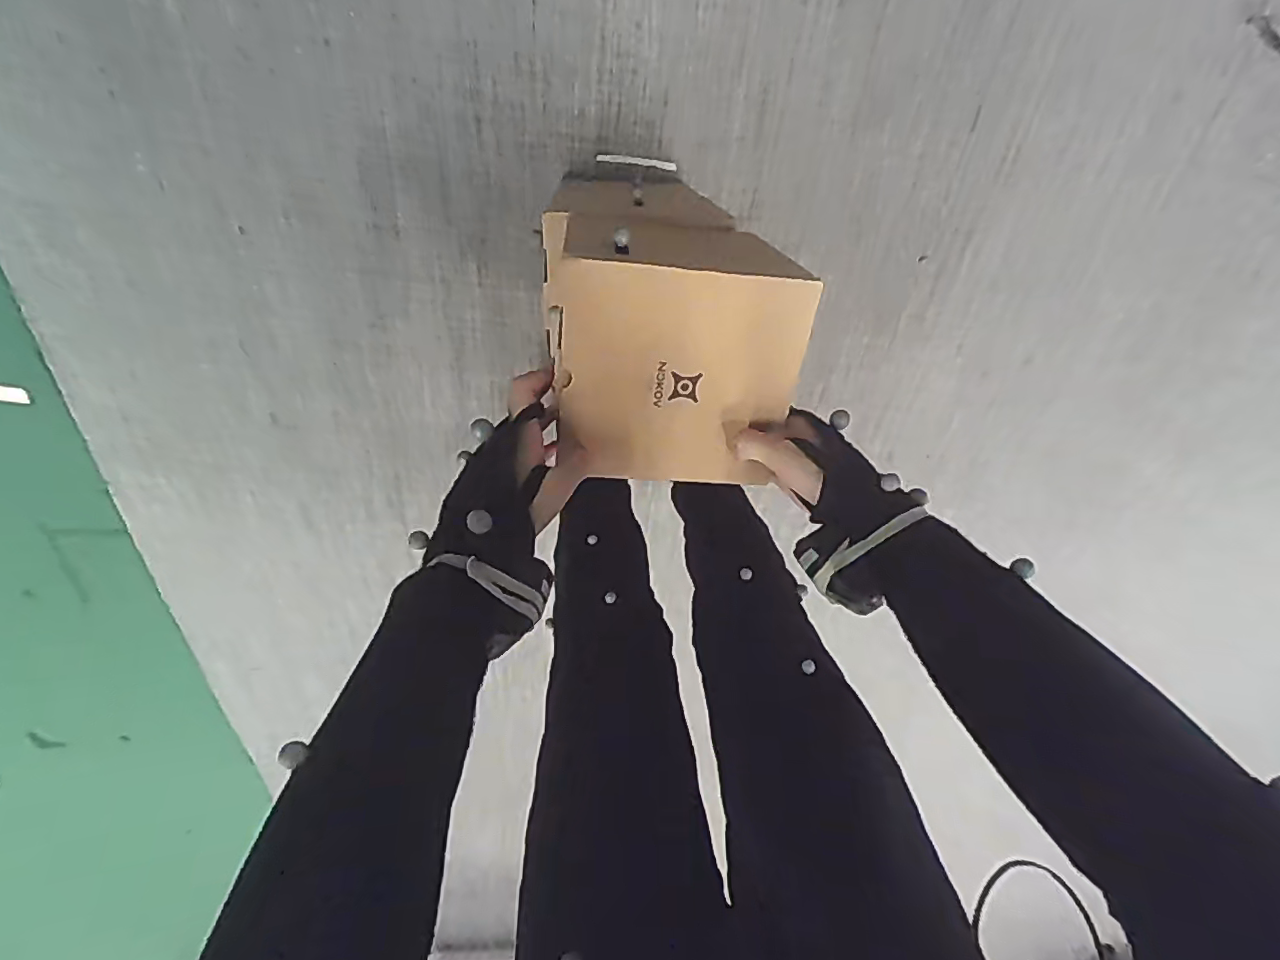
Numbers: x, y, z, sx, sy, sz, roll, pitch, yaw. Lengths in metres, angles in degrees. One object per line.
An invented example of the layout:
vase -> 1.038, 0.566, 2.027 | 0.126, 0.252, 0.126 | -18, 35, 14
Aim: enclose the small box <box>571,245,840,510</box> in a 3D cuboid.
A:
small box -> 0.036, -0.092, 0.459 | 0.179, 0.176, 0.168 | 4, 123, -5
